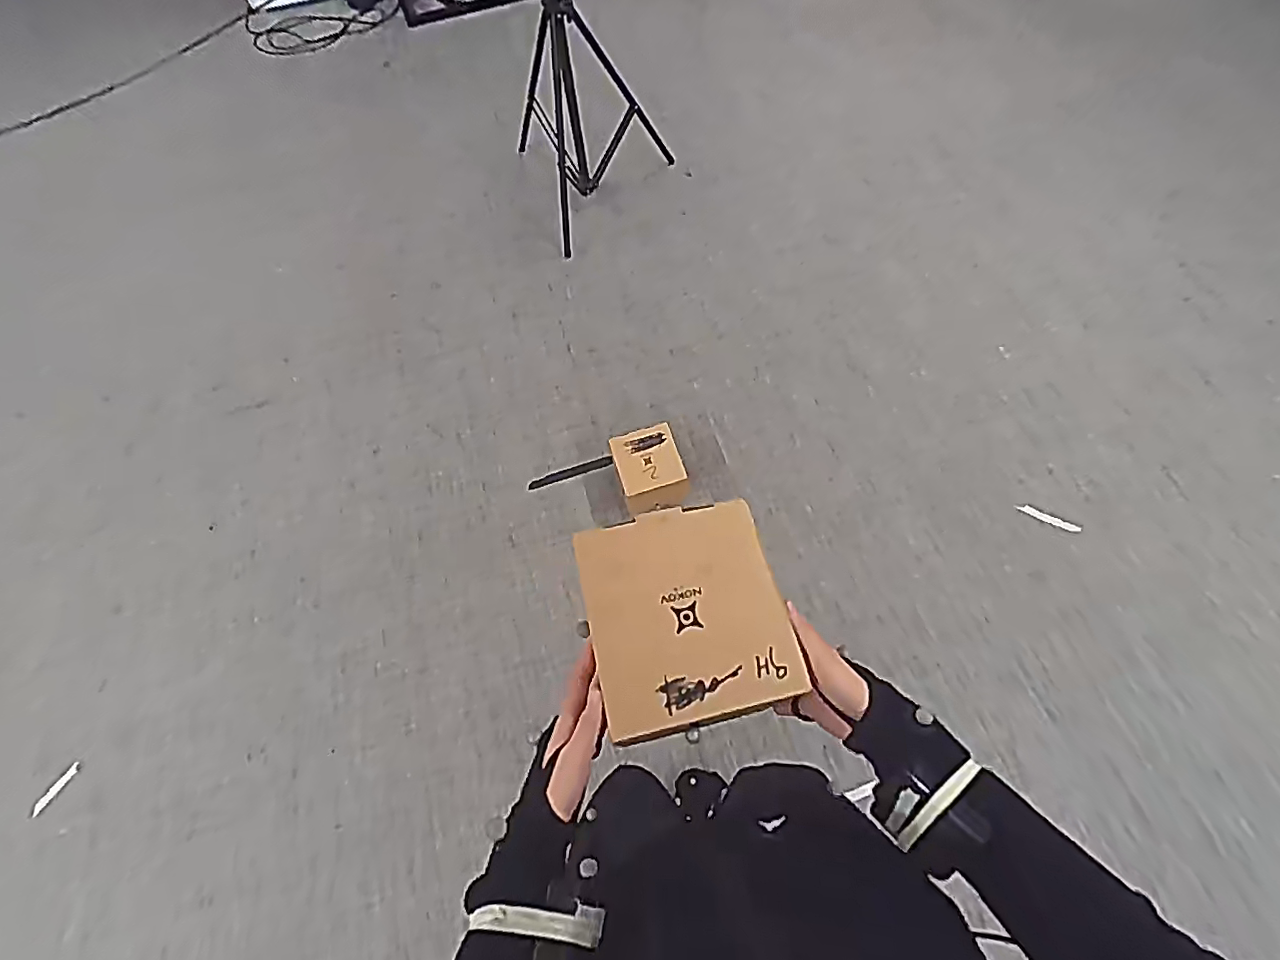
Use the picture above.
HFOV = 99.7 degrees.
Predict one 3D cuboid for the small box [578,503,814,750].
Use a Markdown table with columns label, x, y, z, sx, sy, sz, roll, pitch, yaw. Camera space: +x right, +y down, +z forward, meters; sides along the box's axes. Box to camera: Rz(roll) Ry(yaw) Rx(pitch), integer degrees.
| label | x | y | z | sx | sy | sz | roll | pitch | yaw |
| --- | --- | --- | --- | --- | --- | --- | --- | --- | --- |
| small box | 0.038 | 0.147 | 0.523 | 0.168 | 0.176 | 0.179 | -11 | 63 | -7 |
